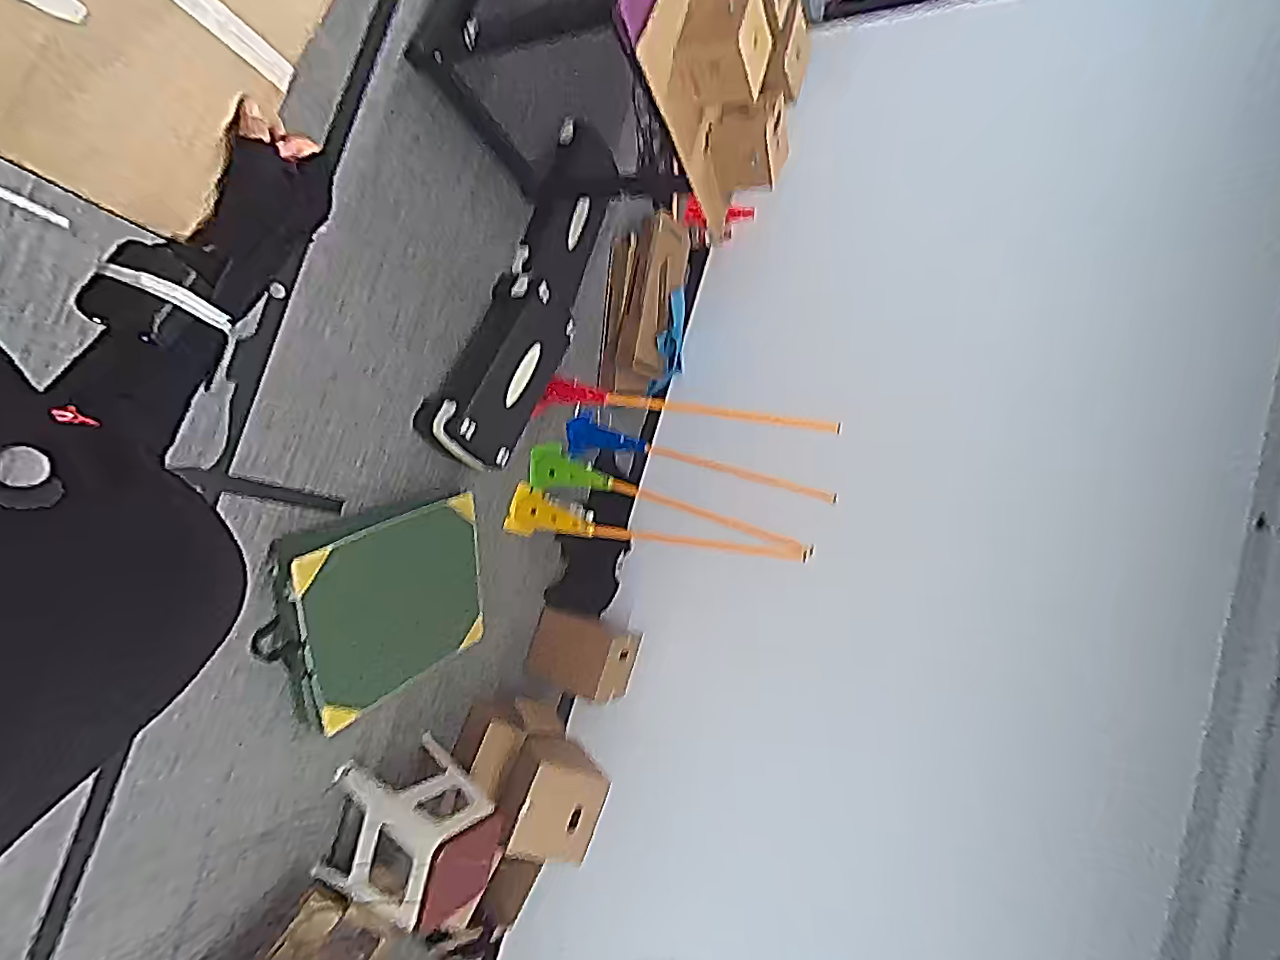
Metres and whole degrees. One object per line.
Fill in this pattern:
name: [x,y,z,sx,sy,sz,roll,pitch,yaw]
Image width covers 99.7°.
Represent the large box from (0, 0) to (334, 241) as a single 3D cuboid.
large box: [-0.486,-0.429,0.337,0.320,0.320,0.408,-61,152,2]
